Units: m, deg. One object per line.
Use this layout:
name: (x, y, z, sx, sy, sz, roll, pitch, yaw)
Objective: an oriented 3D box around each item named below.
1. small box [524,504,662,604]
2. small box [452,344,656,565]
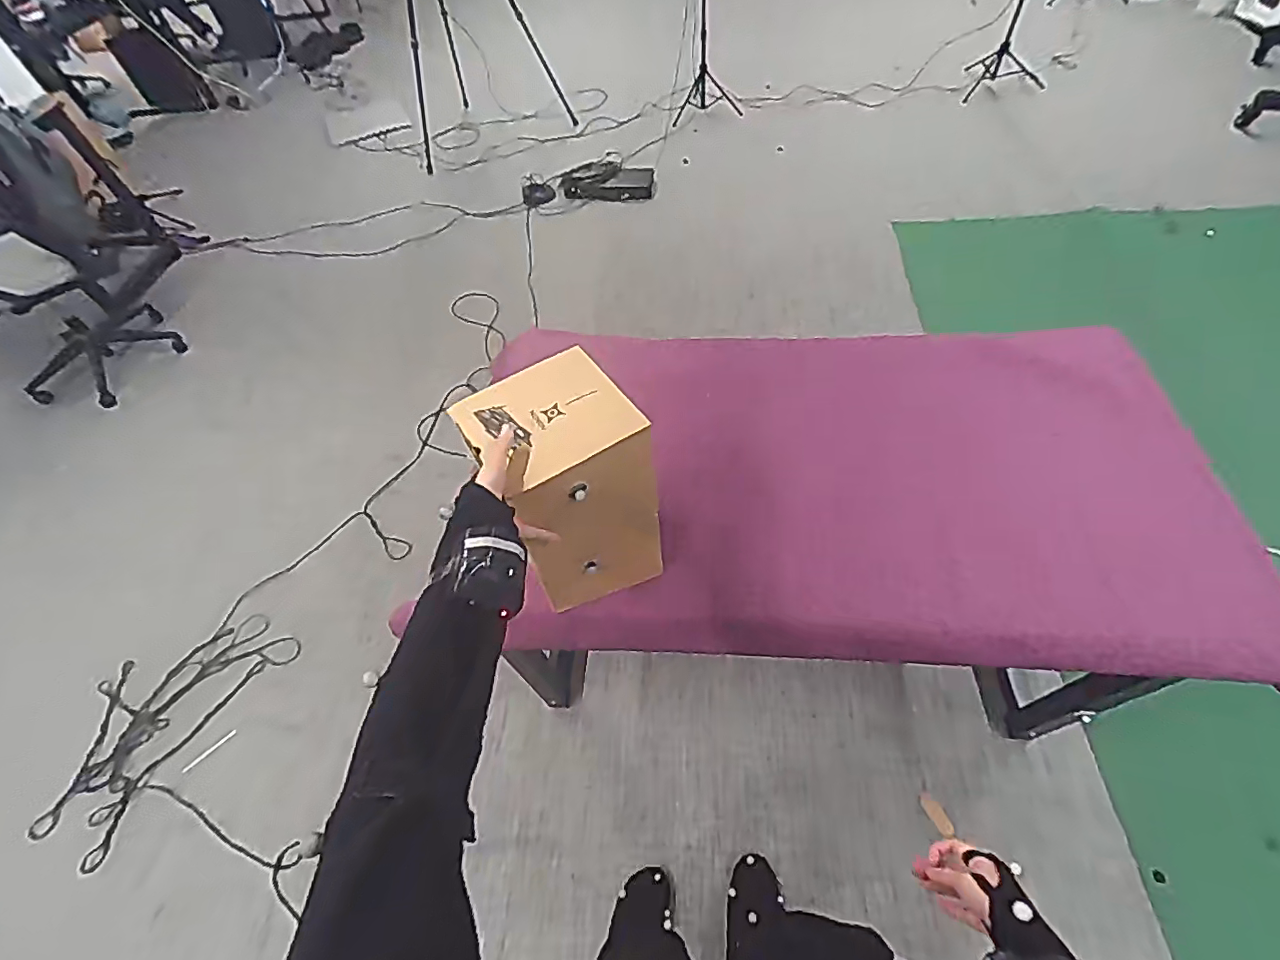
small box: (-0.077, 0.059, 0.799, 0.179, 0.176, 0.168, -19, 54, -8)
small box: (-0.094, -0.027, 0.659, 0.179, 0.176, 0.168, -29, 55, -16)
